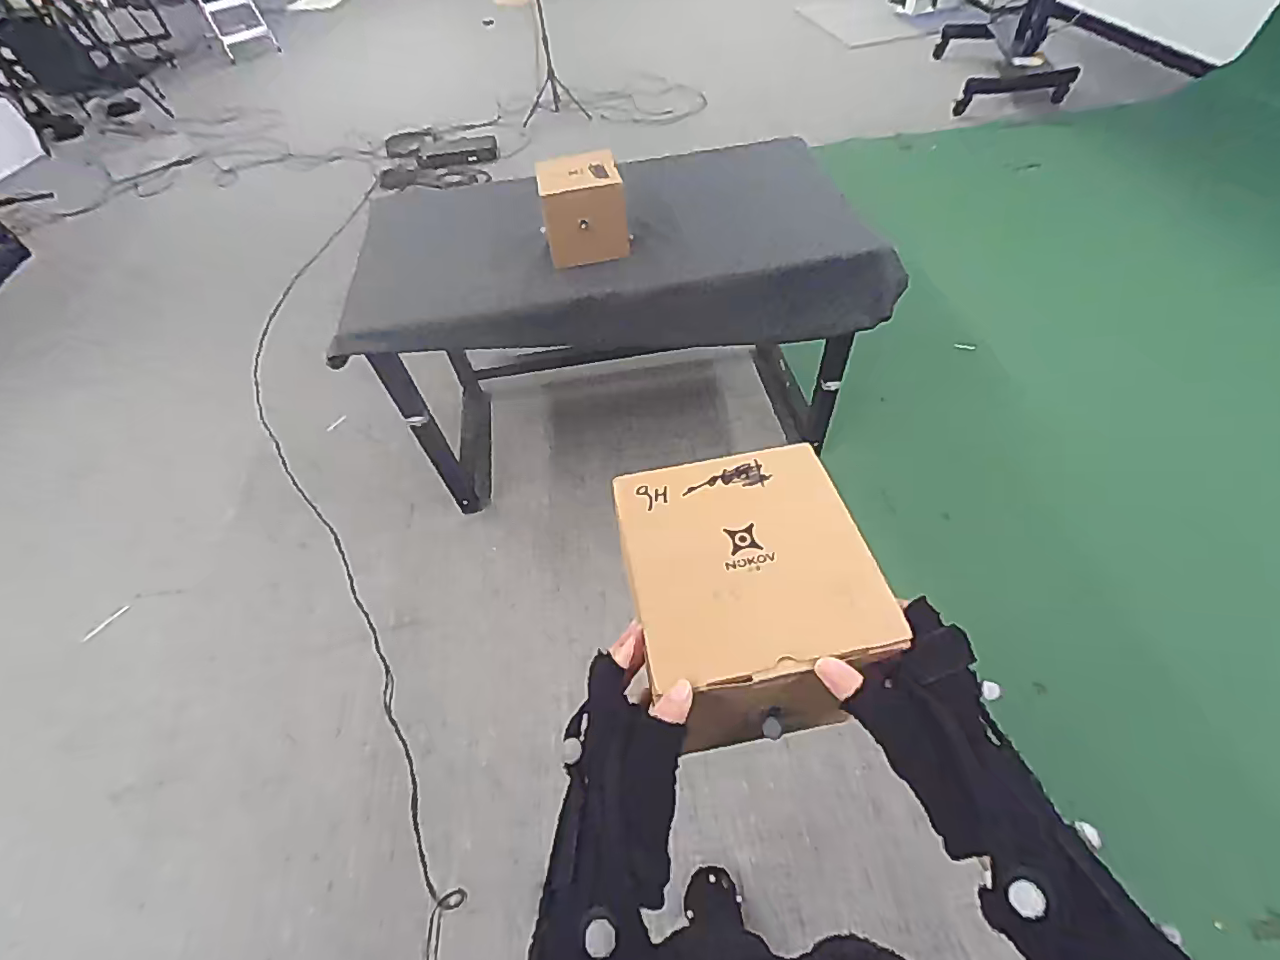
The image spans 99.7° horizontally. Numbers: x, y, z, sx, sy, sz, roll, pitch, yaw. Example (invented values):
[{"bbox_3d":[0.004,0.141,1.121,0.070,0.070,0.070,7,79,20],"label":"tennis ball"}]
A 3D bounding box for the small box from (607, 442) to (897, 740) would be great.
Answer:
[{"bbox_3d":[0.073,0.099,0.444,0.168,0.176,0.179,-10,53,-4],"label":"small box"}]

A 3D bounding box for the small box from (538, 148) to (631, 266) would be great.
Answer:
[{"bbox_3d":[-0.119,-0.606,1.207,0.179,0.176,0.168,-12,53,-5],"label":"small box"}]
